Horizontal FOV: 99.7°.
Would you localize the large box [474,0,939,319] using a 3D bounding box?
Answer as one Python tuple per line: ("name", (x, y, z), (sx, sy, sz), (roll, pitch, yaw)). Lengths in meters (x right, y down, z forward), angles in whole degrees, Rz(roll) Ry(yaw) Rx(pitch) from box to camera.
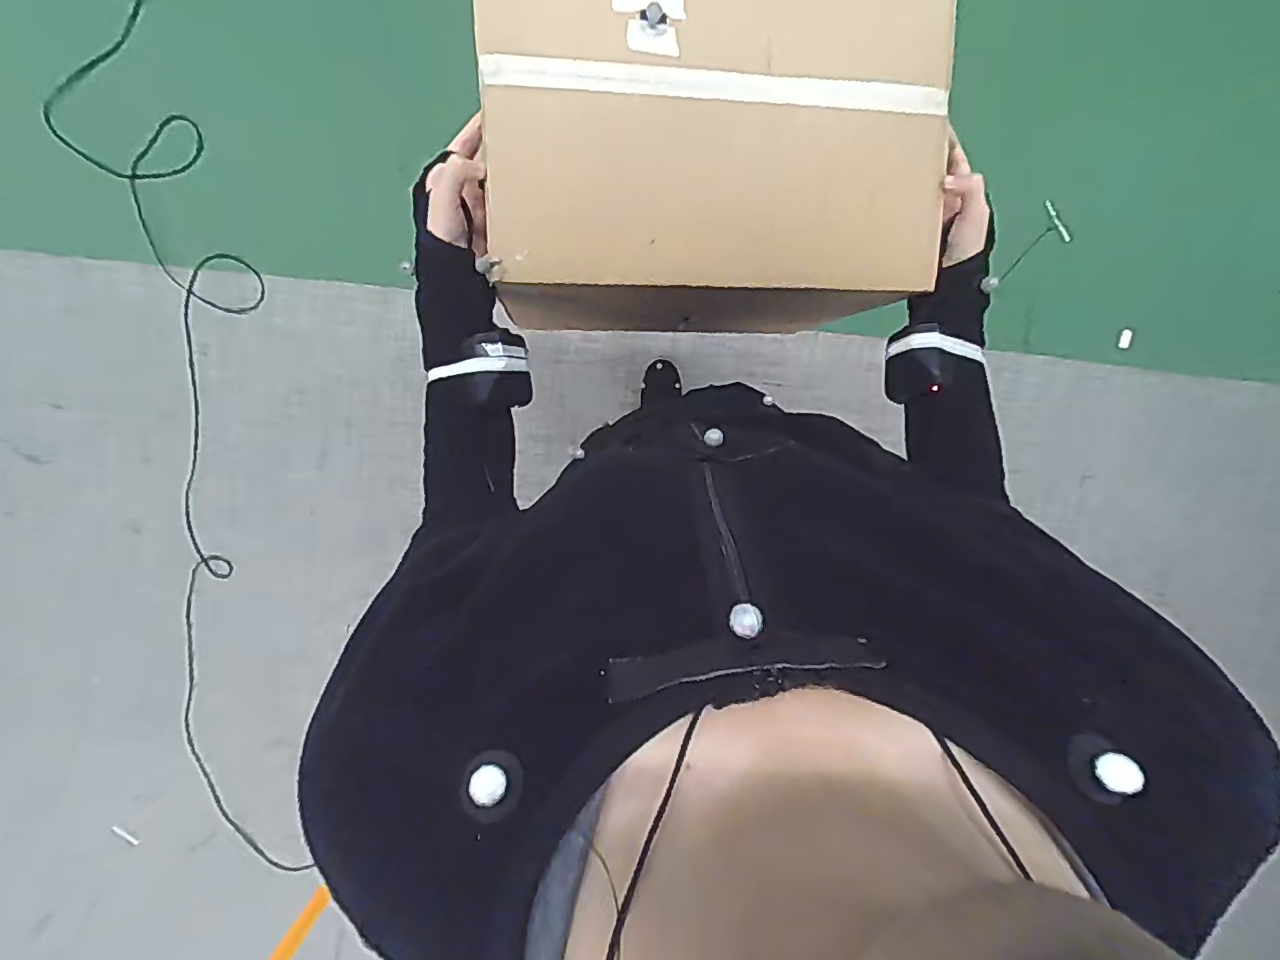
("large box", (0.048, -0.356, 0.607), (0.408, 0.320, 0.320), (-2, 99, -8))
